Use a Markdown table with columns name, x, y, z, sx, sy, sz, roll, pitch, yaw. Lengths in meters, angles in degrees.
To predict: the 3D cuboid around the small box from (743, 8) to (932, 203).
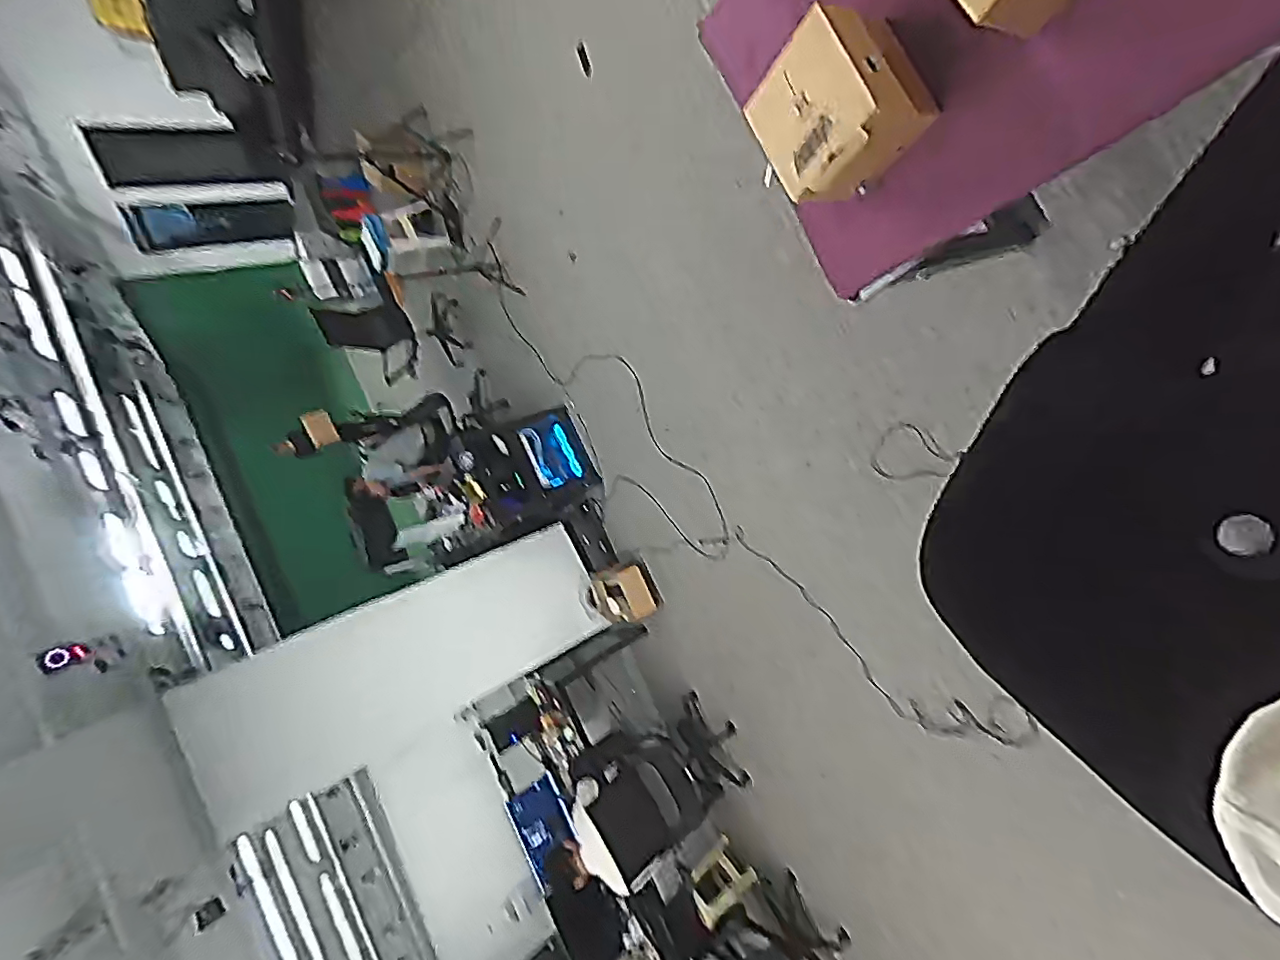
| name | x | y | z | sx | sy | sz | roll | pitch | yaw |
| --- | --- | --- | --- | --- | --- | --- | --- | --- | --- |
| small box | 0.297 | -0.554 | 0.816 | 0.168 | 0.176 | 0.179 | -36 | 77 | 57 |

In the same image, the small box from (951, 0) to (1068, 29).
| name | x | y | z | sx | sy | sz | roll | pitch | yaw |
| --- | --- | --- | --- | --- | --- | --- | --- | --- | --- |
| small box | 0.422 | -0.635 | 0.586 | 0.179 | 0.176 | 0.168 | 62 | 149 | 9 |
